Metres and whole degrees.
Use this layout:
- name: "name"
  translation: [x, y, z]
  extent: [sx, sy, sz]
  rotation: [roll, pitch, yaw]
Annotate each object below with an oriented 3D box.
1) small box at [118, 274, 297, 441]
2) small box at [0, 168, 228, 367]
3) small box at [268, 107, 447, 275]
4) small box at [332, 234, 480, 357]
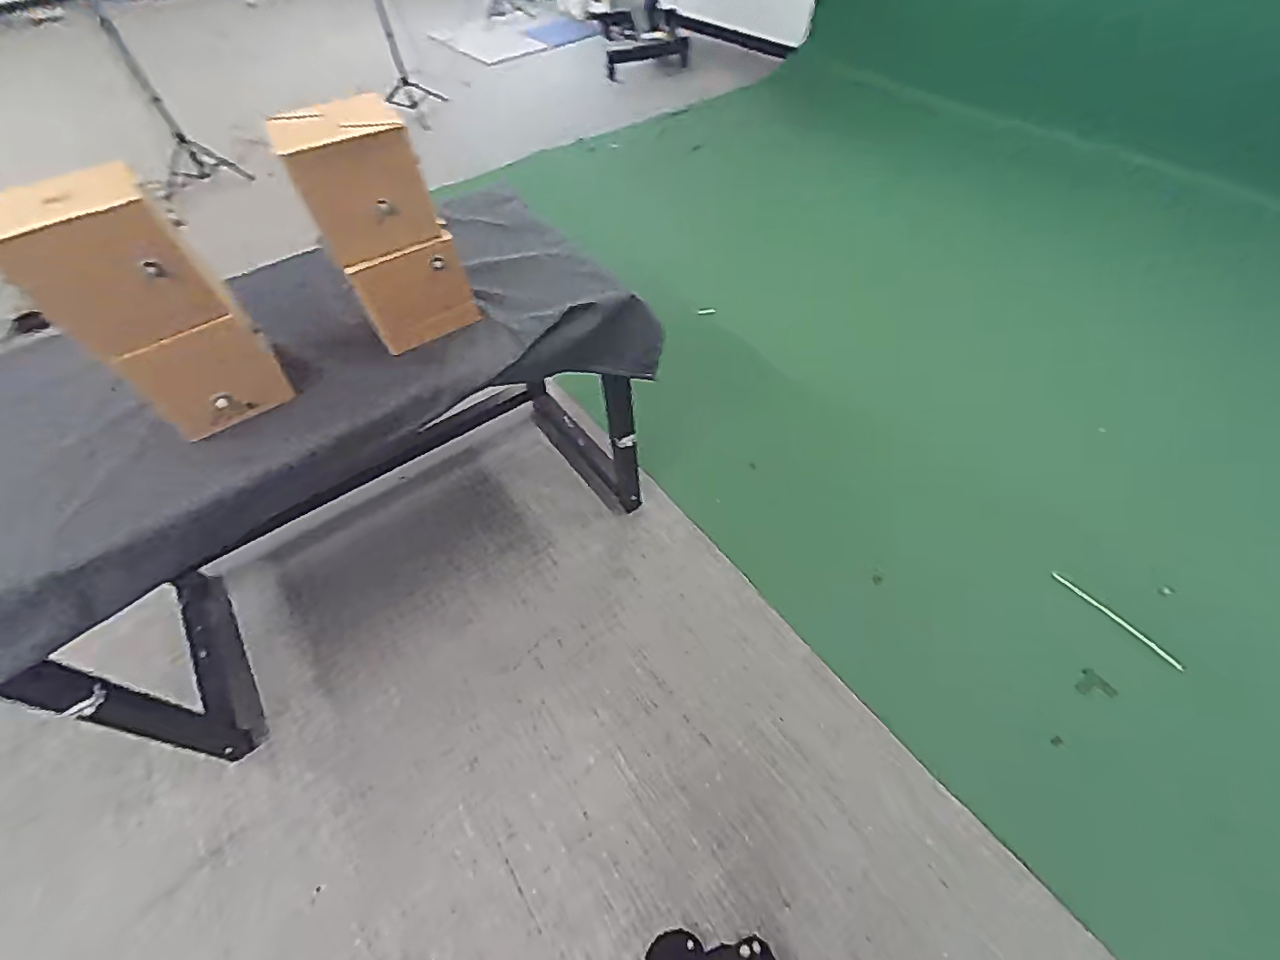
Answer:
- name: "small box"
  translation: [-0.698, -0.195, 0.875]
  extent: [0.168, 0.176, 0.179]
  rotation: [-32, 58, -19]
- name: "small box"
  translation: [-0.710, -0.290, 0.744]
  extent: [0.179, 0.176, 0.168]
  rotation: [-34, 57, -19]
- name: "small box"
  translation: [-0.441, -0.463, 0.856]
  extent: [0.179, 0.176, 0.168]
  rotation: [-27, 55, -16]
- name: "small box"
  translation: [-0.420, -0.354, 0.982]
  extent: [0.179, 0.176, 0.168]
  rotation: [-30, 56, -19]
